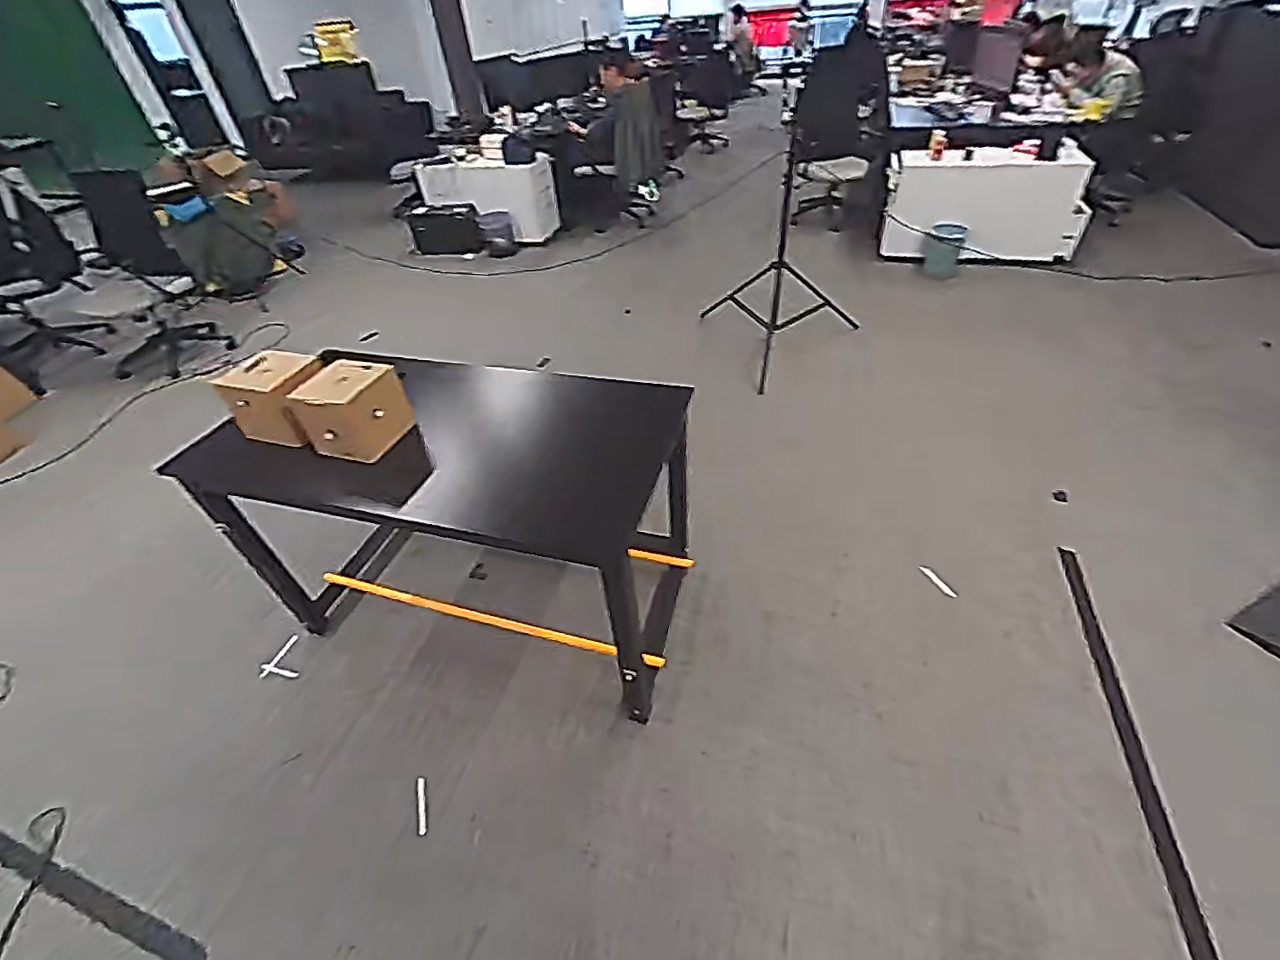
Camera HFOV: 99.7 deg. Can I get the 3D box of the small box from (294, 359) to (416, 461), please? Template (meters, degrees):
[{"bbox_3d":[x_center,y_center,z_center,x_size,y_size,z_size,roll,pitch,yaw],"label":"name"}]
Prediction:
[{"bbox_3d":[-0.674,-0.168,1.307,0.168,0.176,0.179,10,44,15],"label":"small box"}]

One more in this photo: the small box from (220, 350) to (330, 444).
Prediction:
[{"bbox_3d":[-0.893,-0.211,1.374,0.179,0.176,0.168,10,44,15],"label":"small box"}]
